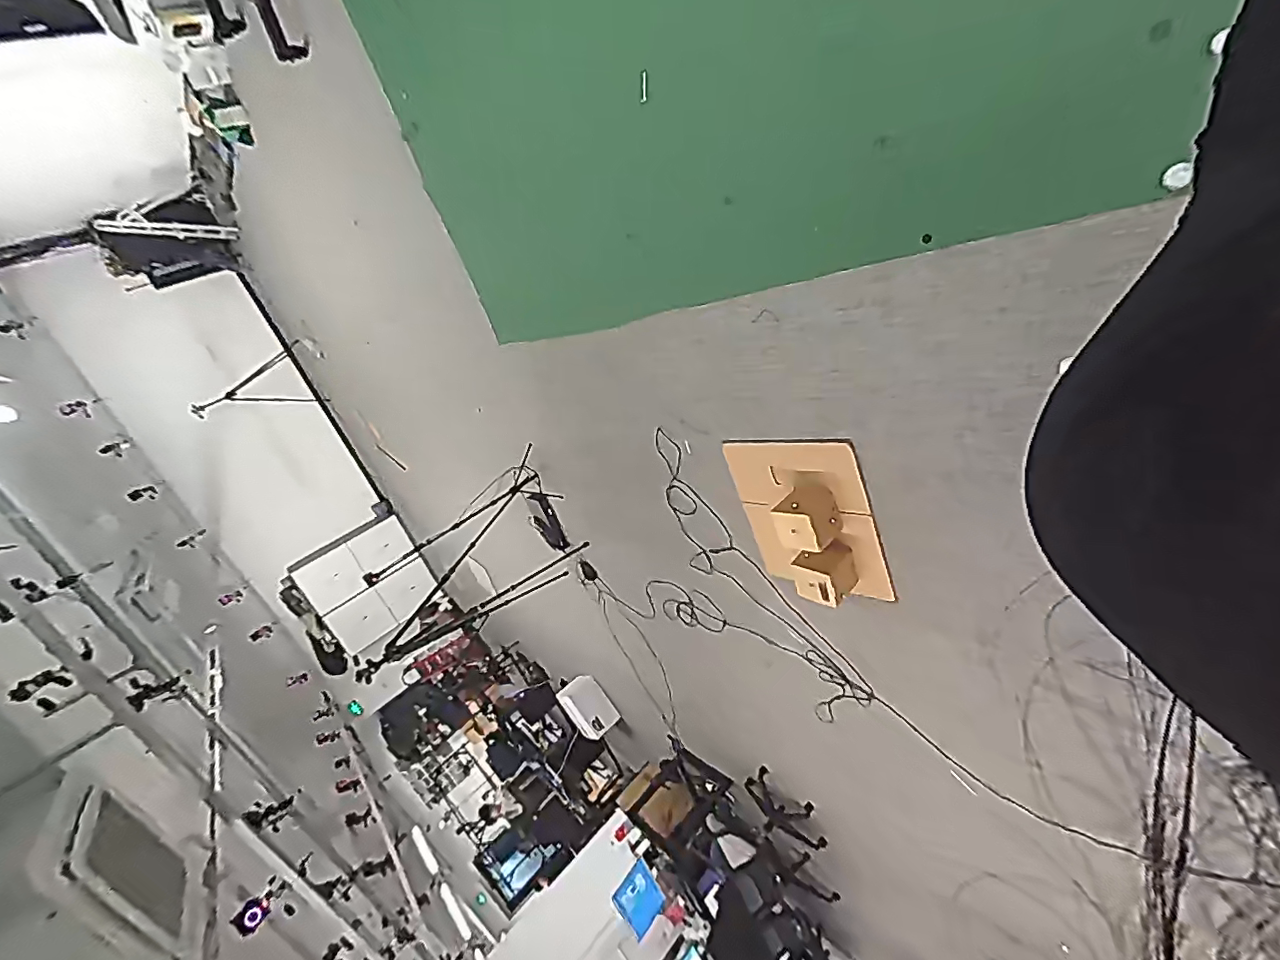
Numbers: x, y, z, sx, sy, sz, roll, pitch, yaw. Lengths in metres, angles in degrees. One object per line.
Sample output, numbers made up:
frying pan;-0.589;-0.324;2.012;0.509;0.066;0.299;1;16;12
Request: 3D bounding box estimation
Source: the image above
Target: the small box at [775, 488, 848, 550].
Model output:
small box;0.648;0.141;2.039;0.179;0.176;0.168;1;121;53
